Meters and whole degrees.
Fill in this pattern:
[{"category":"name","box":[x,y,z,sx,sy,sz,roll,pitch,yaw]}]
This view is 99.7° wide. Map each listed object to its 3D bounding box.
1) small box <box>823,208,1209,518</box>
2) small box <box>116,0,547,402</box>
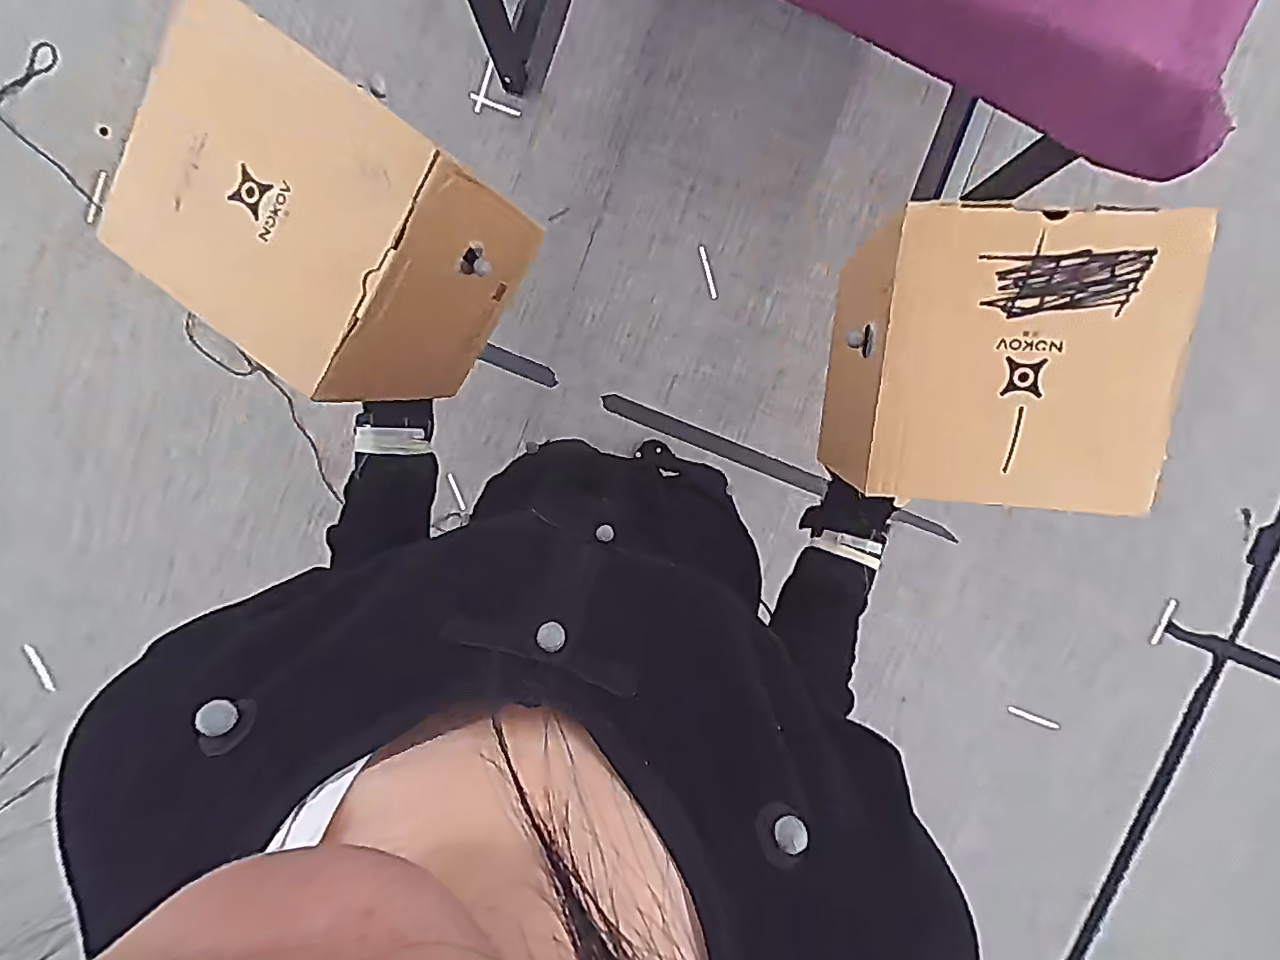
[{"category":"small box","box":[0.244,-0.082,0.405,0.168,0.176,0.179,5,100,7]},{"category":"small box","box":[-0.196,-0.174,0.390,0.179,0.176,0.168,37,103,3]}]
